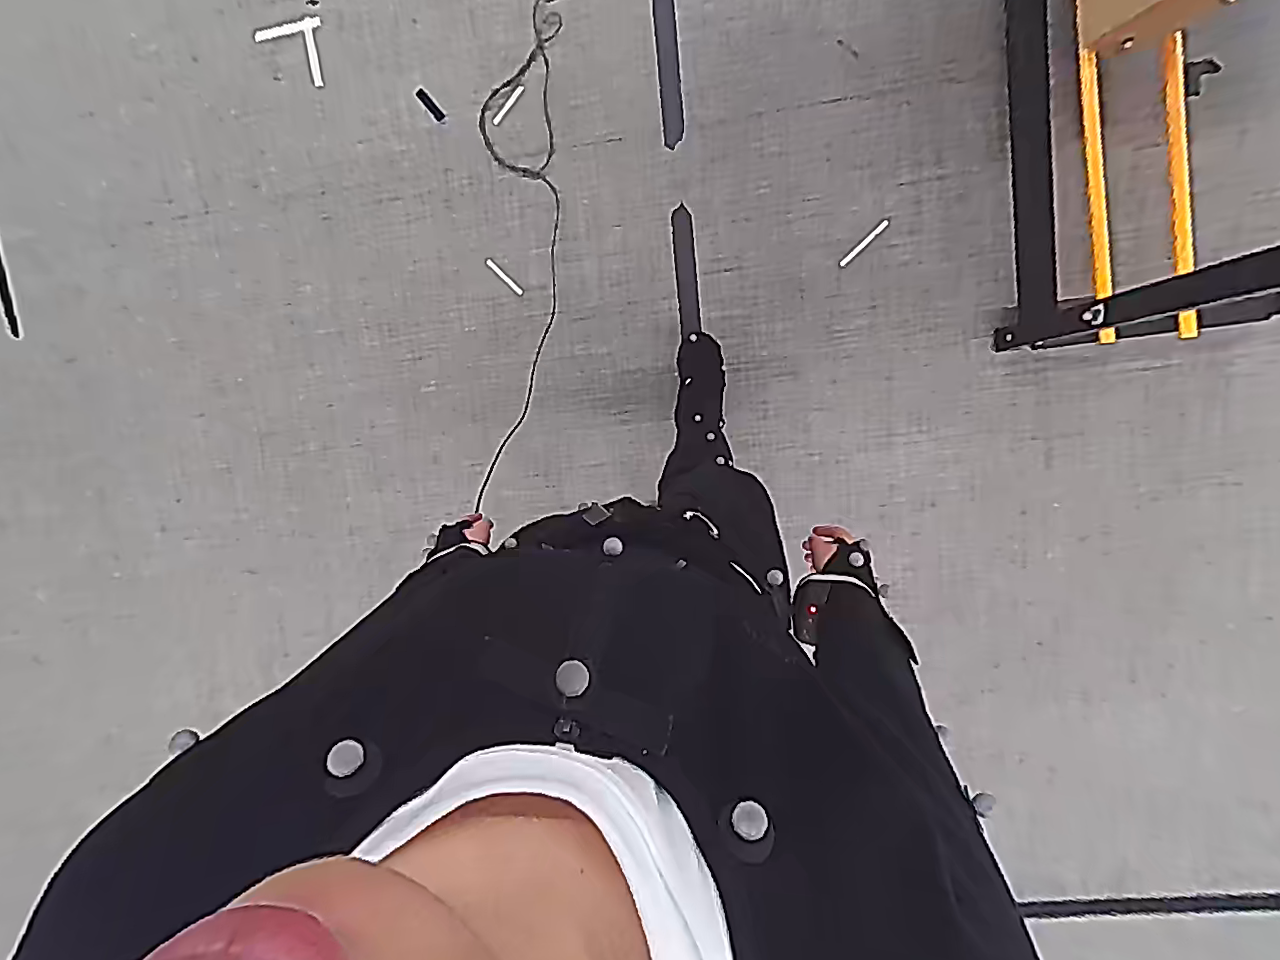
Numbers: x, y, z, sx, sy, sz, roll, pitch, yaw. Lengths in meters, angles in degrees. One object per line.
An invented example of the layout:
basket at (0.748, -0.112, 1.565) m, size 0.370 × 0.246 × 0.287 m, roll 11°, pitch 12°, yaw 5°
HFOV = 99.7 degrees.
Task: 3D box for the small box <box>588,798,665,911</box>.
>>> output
small box at (-0.028, 0.950, 1.381) m, size 0.168 × 0.176 × 0.179 m, roll -5°, pitch 95°, yaw 6°

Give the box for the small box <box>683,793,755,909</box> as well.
small box at (0.195, 0.922, 1.354) m, size 0.168 × 0.176 × 0.179 m, roll -4°, pitch 95°, yaw 6°
